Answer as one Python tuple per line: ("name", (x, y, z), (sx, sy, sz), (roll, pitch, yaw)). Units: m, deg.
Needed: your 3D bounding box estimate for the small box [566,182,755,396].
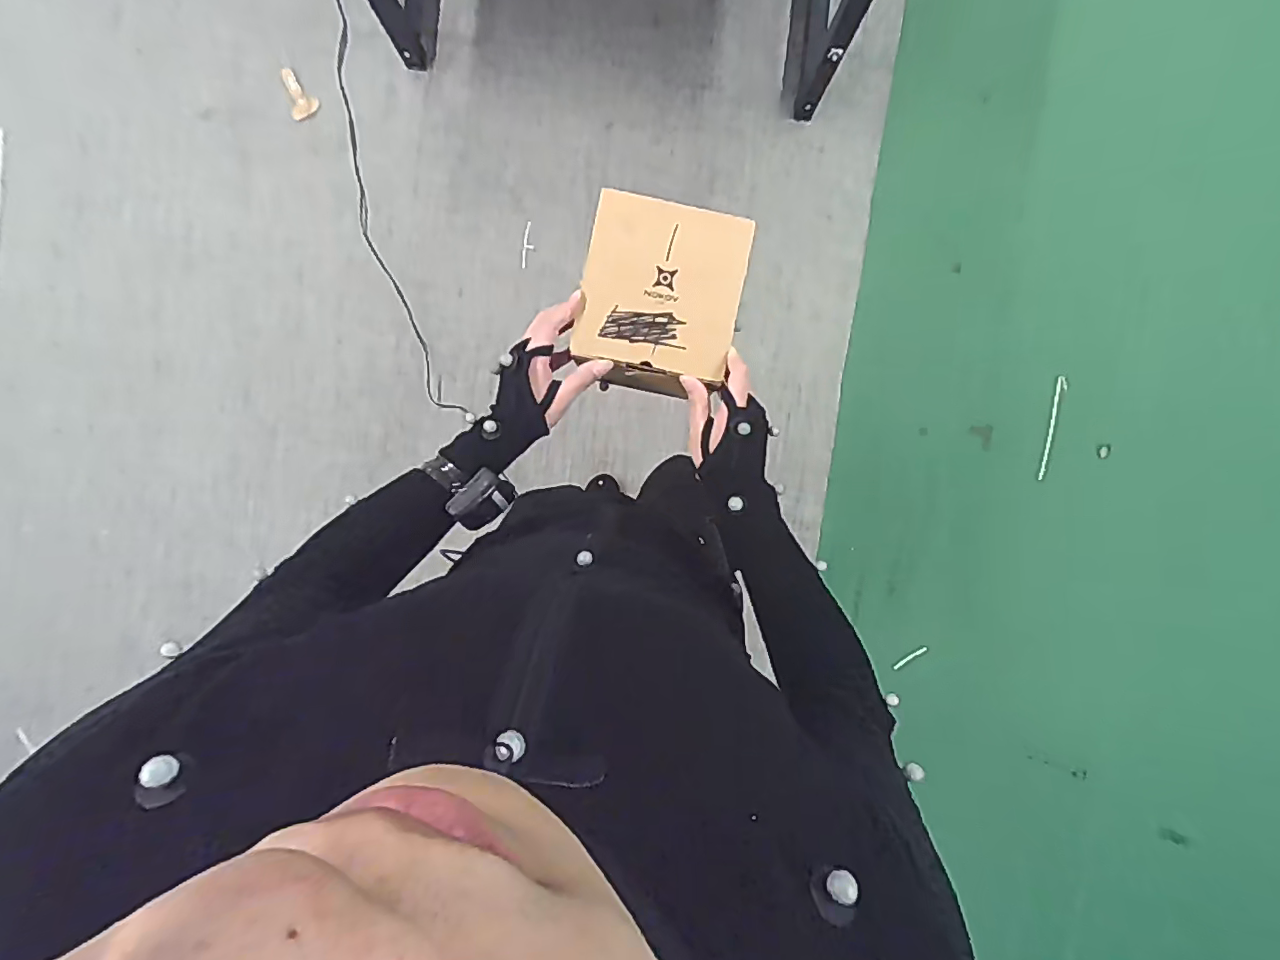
("small box", (0.021, -0.202, 0.626), (0.168, 0.176, 0.179), (12, 91, -1))
